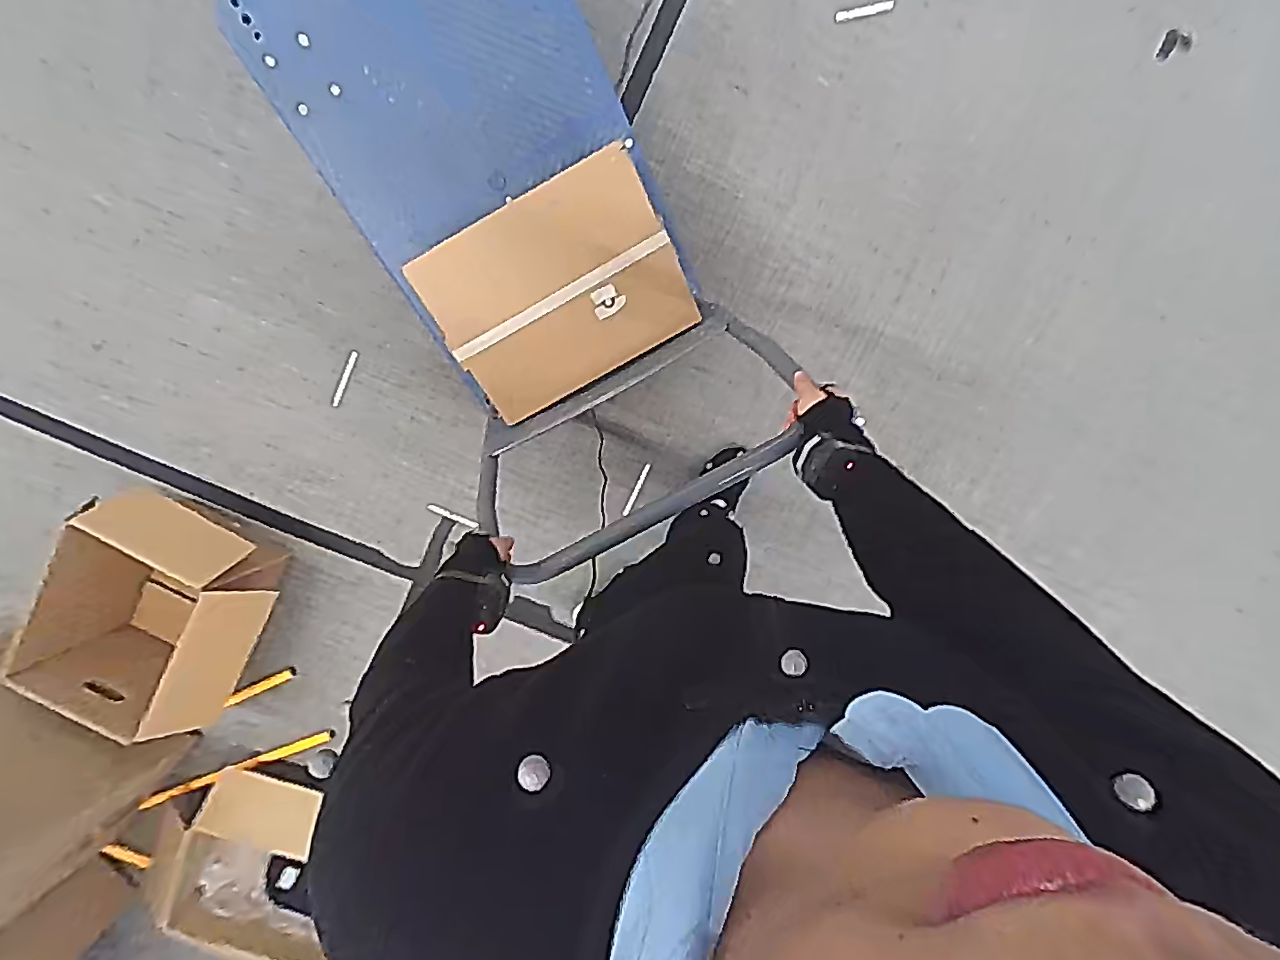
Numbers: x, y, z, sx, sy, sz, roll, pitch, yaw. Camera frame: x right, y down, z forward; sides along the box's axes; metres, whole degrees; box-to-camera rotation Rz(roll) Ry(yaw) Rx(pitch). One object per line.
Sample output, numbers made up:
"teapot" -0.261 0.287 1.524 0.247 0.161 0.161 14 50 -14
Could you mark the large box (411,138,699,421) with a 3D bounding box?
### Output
"large box" -0.158 -0.381 1.054 0.408 0.320 0.320 -30 117 3
